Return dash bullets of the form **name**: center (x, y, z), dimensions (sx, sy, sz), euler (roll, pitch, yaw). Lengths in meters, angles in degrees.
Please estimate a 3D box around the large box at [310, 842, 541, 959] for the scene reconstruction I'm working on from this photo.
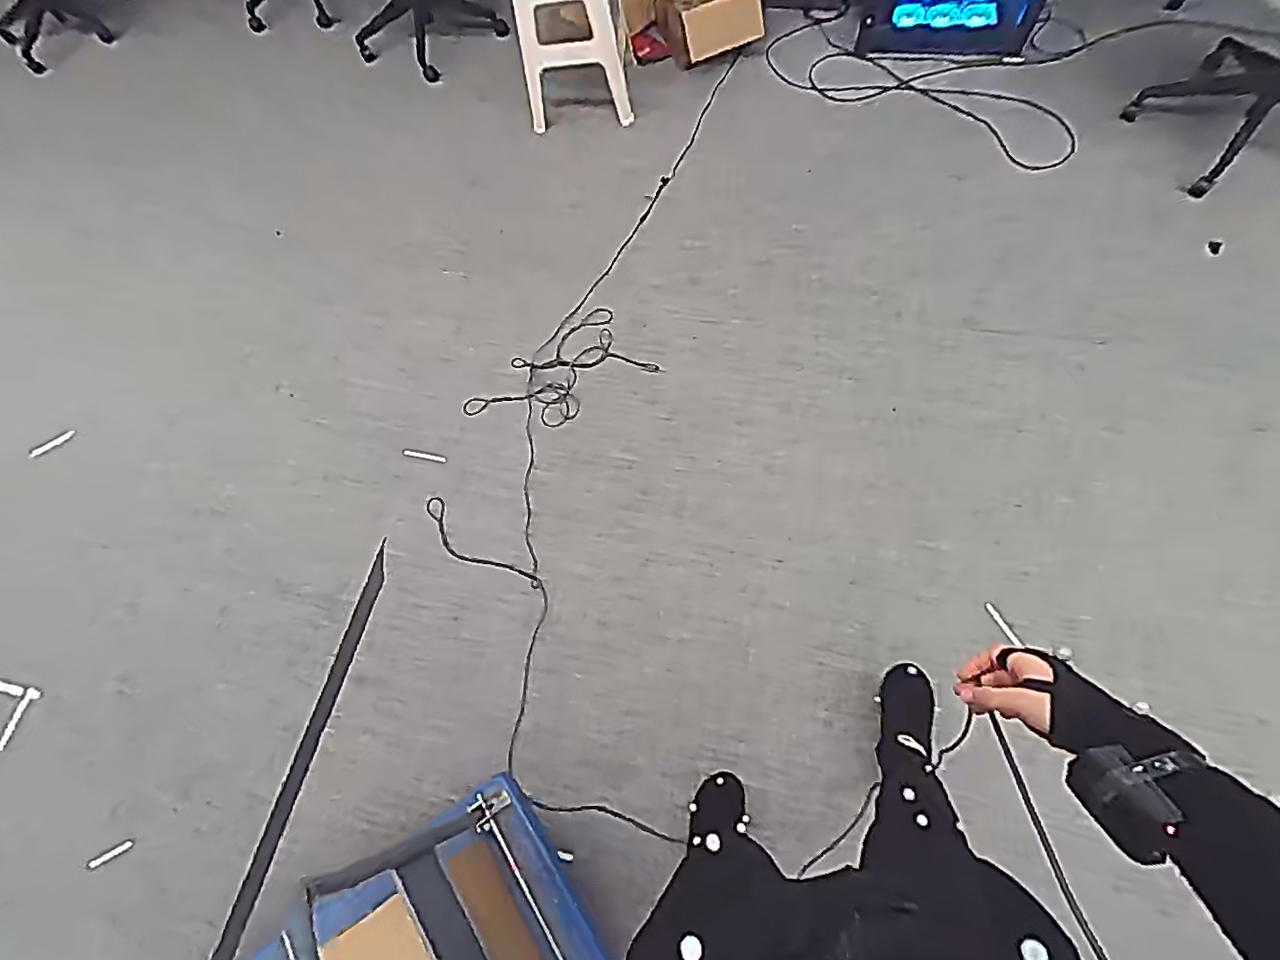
- **large box**: center (-0.340, 0.898, 0.860), dimensions (0.320, 0.320, 0.408), euler (-35, 68, -8)
